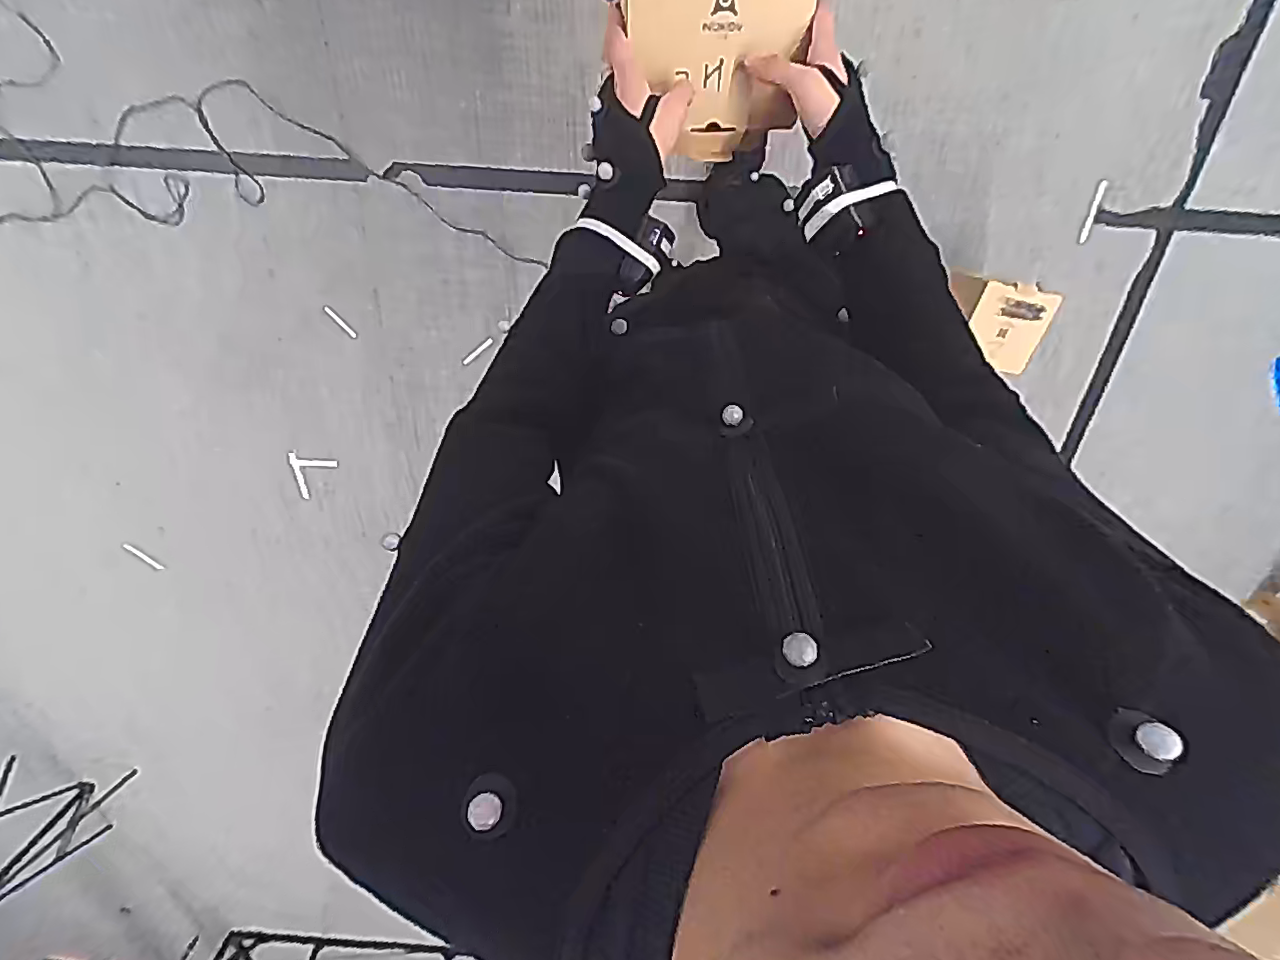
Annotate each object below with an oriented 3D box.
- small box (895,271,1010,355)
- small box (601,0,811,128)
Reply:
[{"bbox_3d":[0.785,-0.432,1.385,0.179,0.176,0.168,7,119,-1],"label":"small box"},{"bbox_3d":[0.052,-0.451,0.513,0.168,0.176,0.179,-6,133,-7],"label":"small box"}]
